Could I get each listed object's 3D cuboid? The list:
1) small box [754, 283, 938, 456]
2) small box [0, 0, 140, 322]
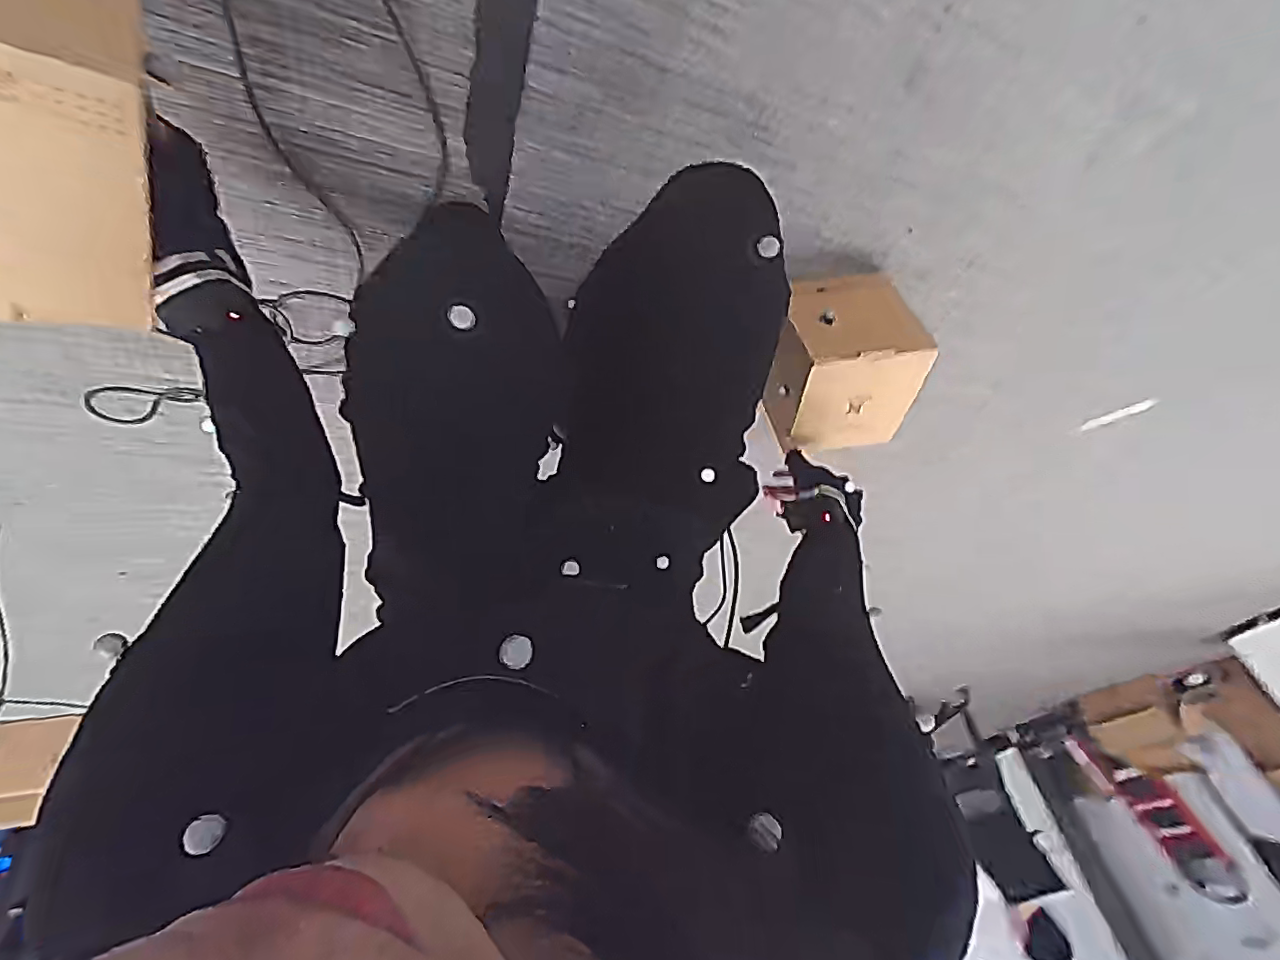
[{"bbox_3d":[0.271,-0.160,0.761,0.168,0.176,0.179,-7,144,-5],"label":"small box"},{"bbox_3d":[-0.358,-0.208,0.258,0.168,0.179,0.176,-2,152,-42],"label":"small box"}]
